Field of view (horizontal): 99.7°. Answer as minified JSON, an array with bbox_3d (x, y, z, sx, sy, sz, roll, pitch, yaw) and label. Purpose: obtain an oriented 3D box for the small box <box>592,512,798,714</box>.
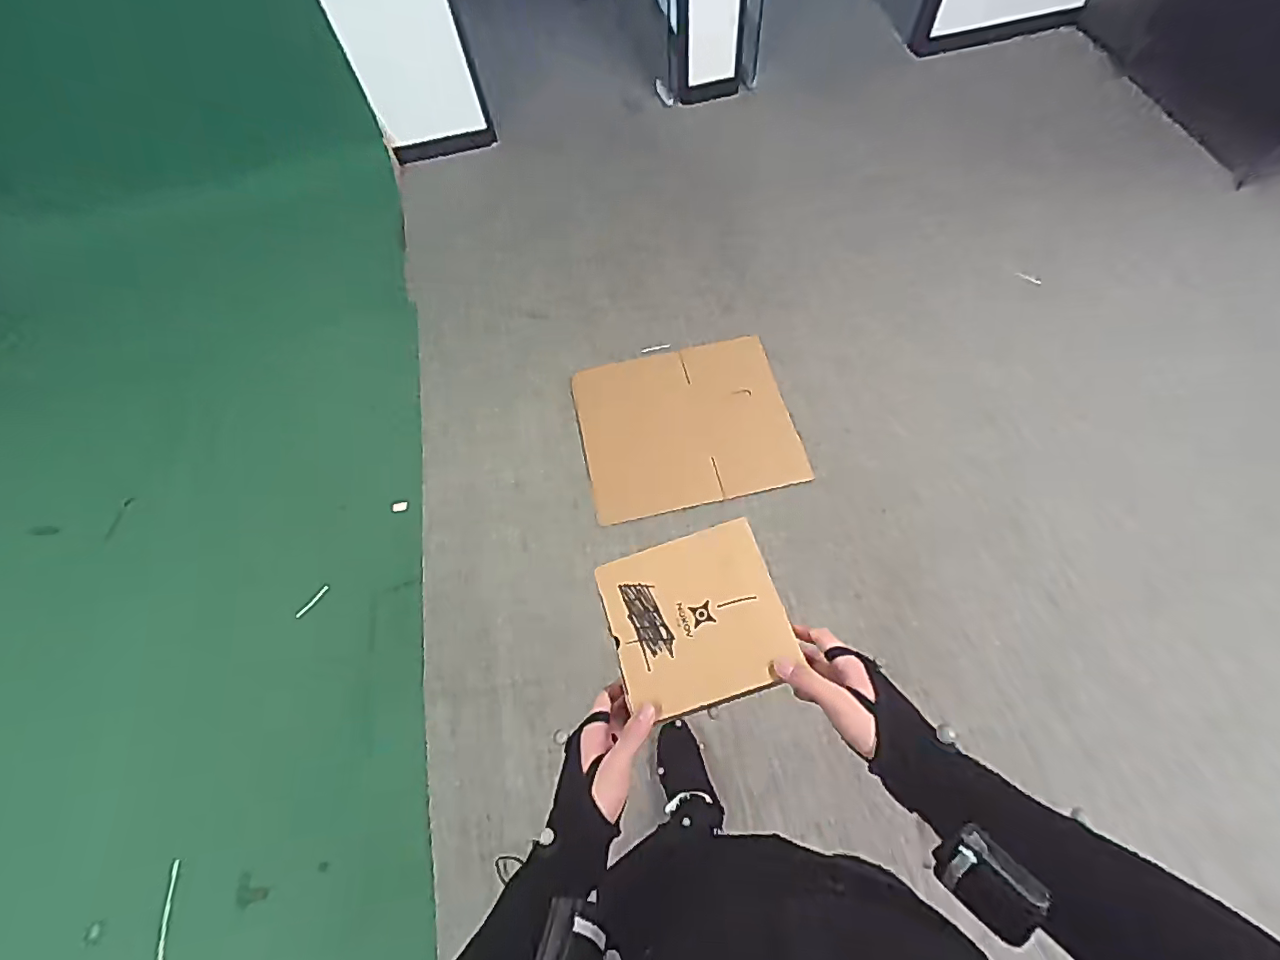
[{"bbox_3d":[0.063,0.163,0.623,0.179,0.176,0.168,-19,65,2],"label":"small box"}]
